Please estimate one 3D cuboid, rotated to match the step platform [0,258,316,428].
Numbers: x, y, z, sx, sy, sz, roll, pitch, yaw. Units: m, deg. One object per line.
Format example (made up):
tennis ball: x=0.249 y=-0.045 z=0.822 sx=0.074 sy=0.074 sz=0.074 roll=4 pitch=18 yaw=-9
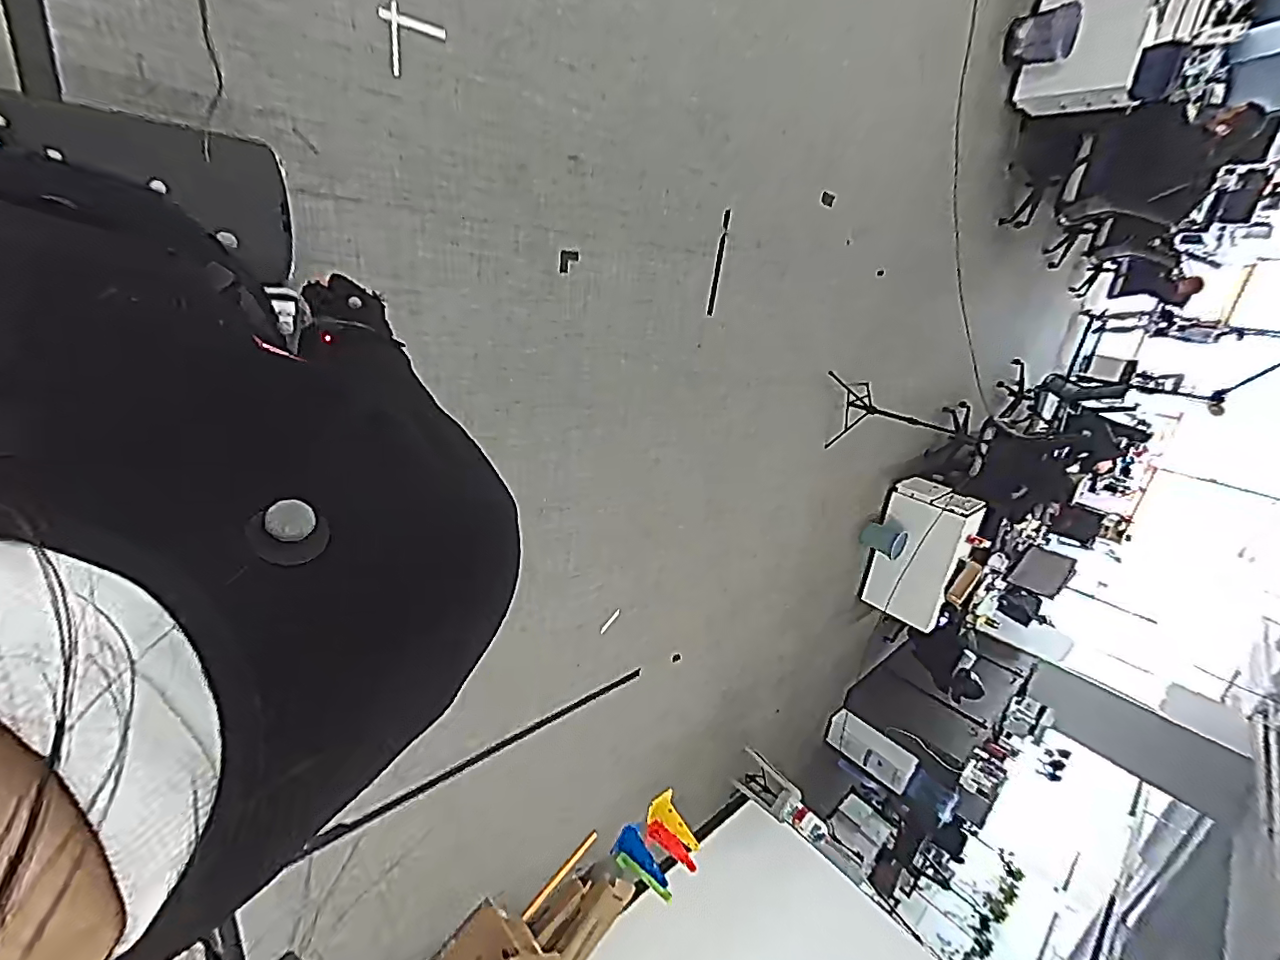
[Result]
step platform: x=-1.020 y=-0.270 z=1.039 sx=0.684 sy=0.204 sz=0.286 roll=-13 pitch=118 yaw=-39
